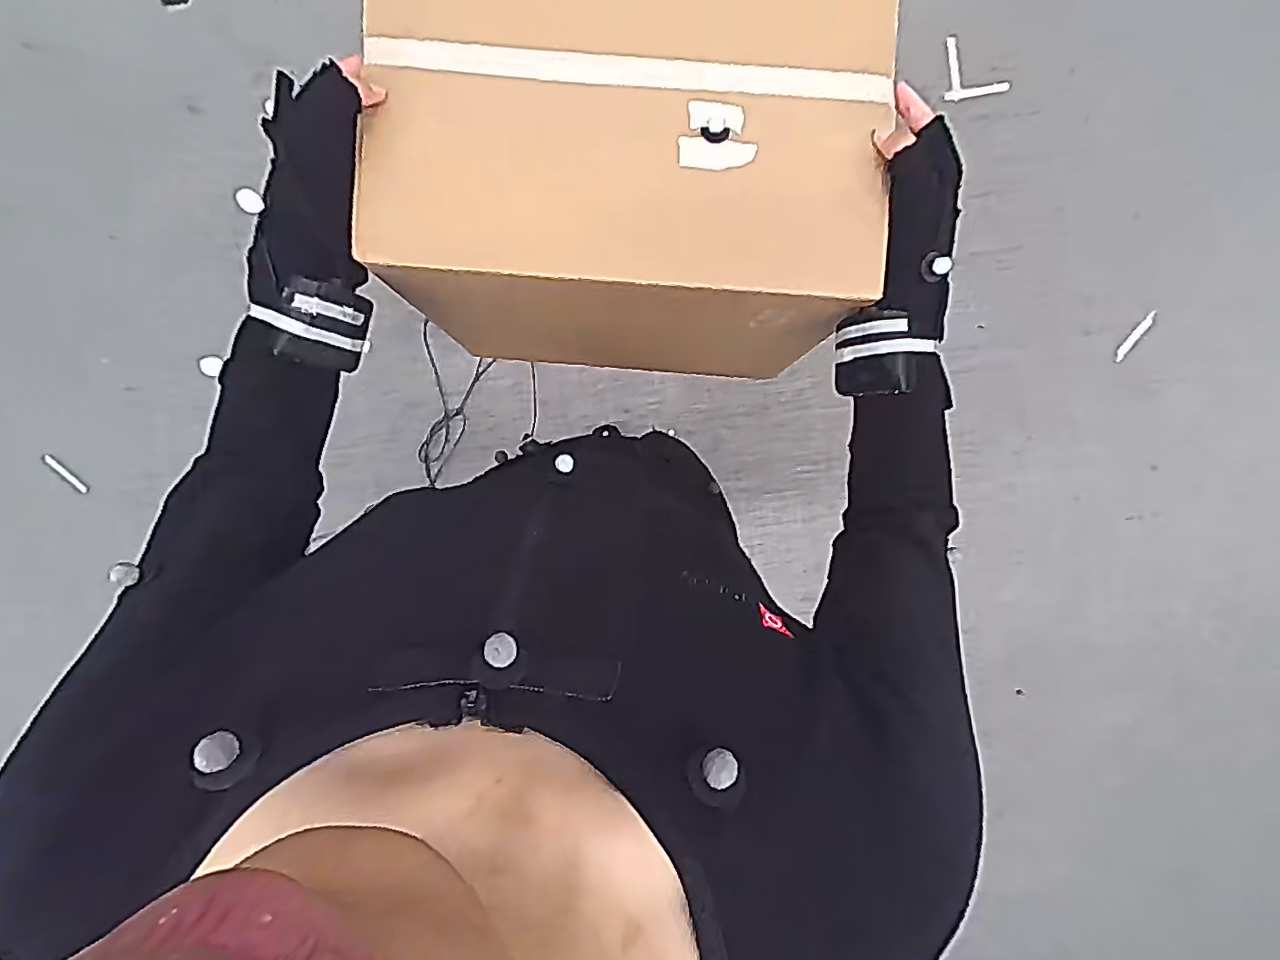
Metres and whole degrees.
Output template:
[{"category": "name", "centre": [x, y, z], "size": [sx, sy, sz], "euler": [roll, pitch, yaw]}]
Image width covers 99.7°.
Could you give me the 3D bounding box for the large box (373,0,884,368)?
[{"category": "large box", "centre": [-0.011, -0.312, 0.578], "size": [0.408, 0.320, 0.320], "euler": [3, 89, -1]}]
